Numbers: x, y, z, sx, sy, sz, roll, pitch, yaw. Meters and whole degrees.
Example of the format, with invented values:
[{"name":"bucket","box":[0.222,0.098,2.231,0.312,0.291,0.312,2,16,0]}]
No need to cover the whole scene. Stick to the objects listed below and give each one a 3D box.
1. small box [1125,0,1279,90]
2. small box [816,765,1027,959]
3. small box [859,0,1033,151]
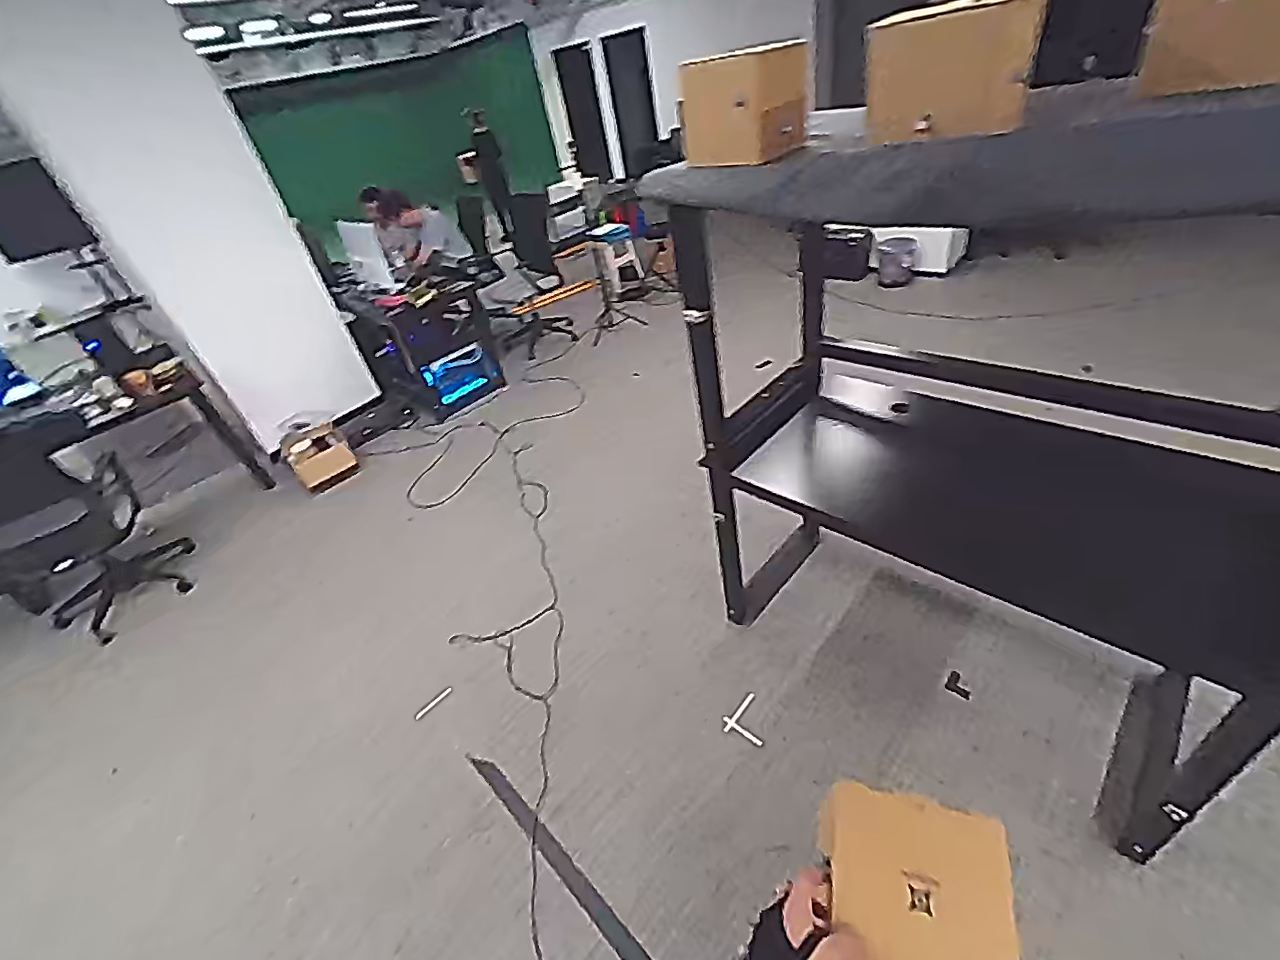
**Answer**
[{"name":"small box","box":[0.865,-0.699,0.799,0.179,0.176,0.168,23,51,39]},{"name":"small box","box":[0.287,0.439,0.583,0.168,0.176,0.179,6,51,15]},{"name":"small box","box":[0.453,-0.610,0.814,0.179,0.176,0.168,23,49,37]}]
